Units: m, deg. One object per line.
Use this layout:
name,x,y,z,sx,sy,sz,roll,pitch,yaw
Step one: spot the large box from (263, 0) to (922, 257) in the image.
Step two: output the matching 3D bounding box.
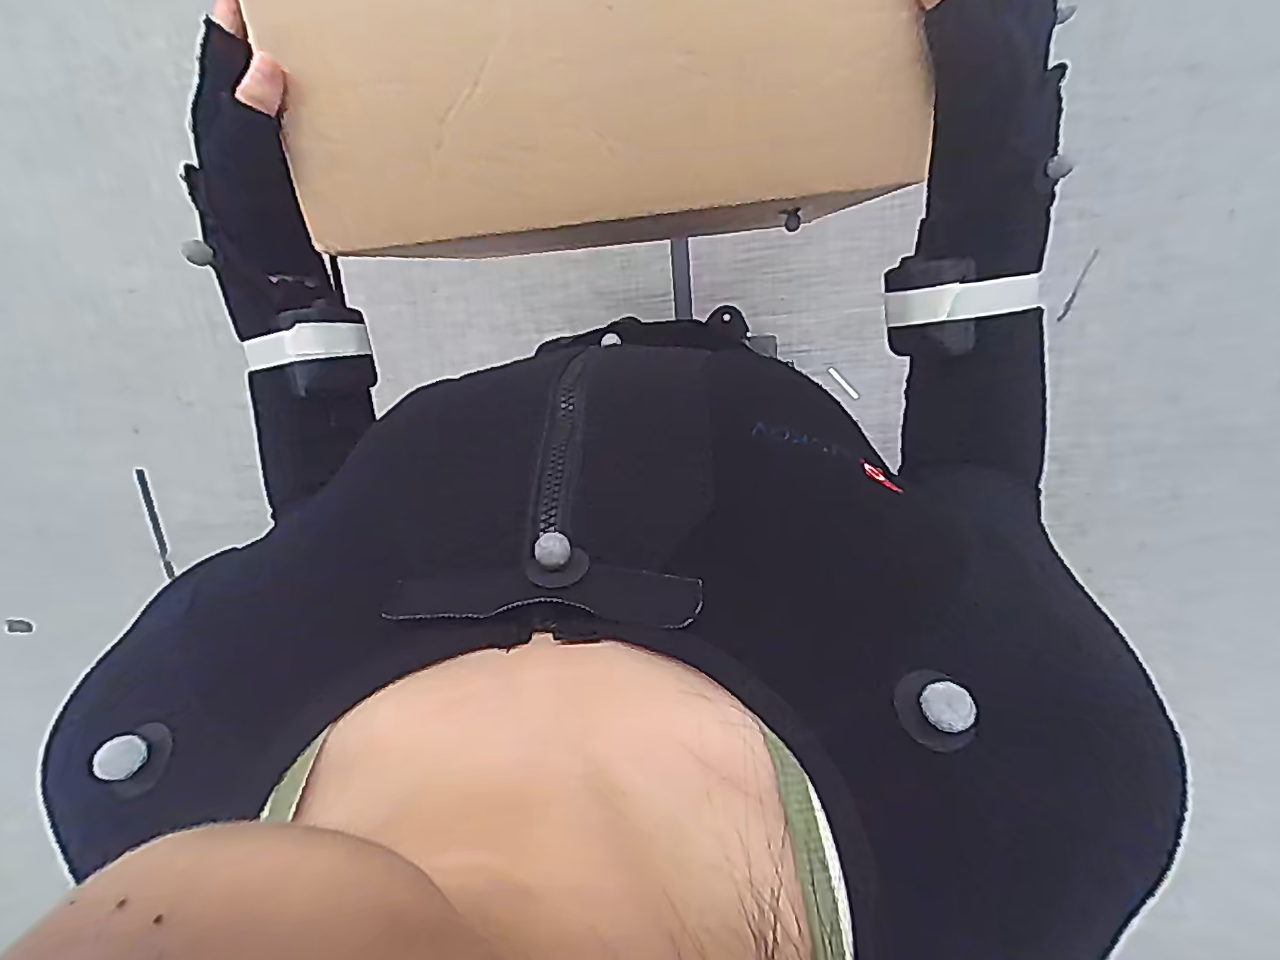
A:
large box,-0.027,-0.375,0.450,0.408,0.320,0.320,-4,111,5

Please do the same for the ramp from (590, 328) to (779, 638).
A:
ramp,0.165,0.073,1.612,0.509,0.206,0.991,-6,105,6
